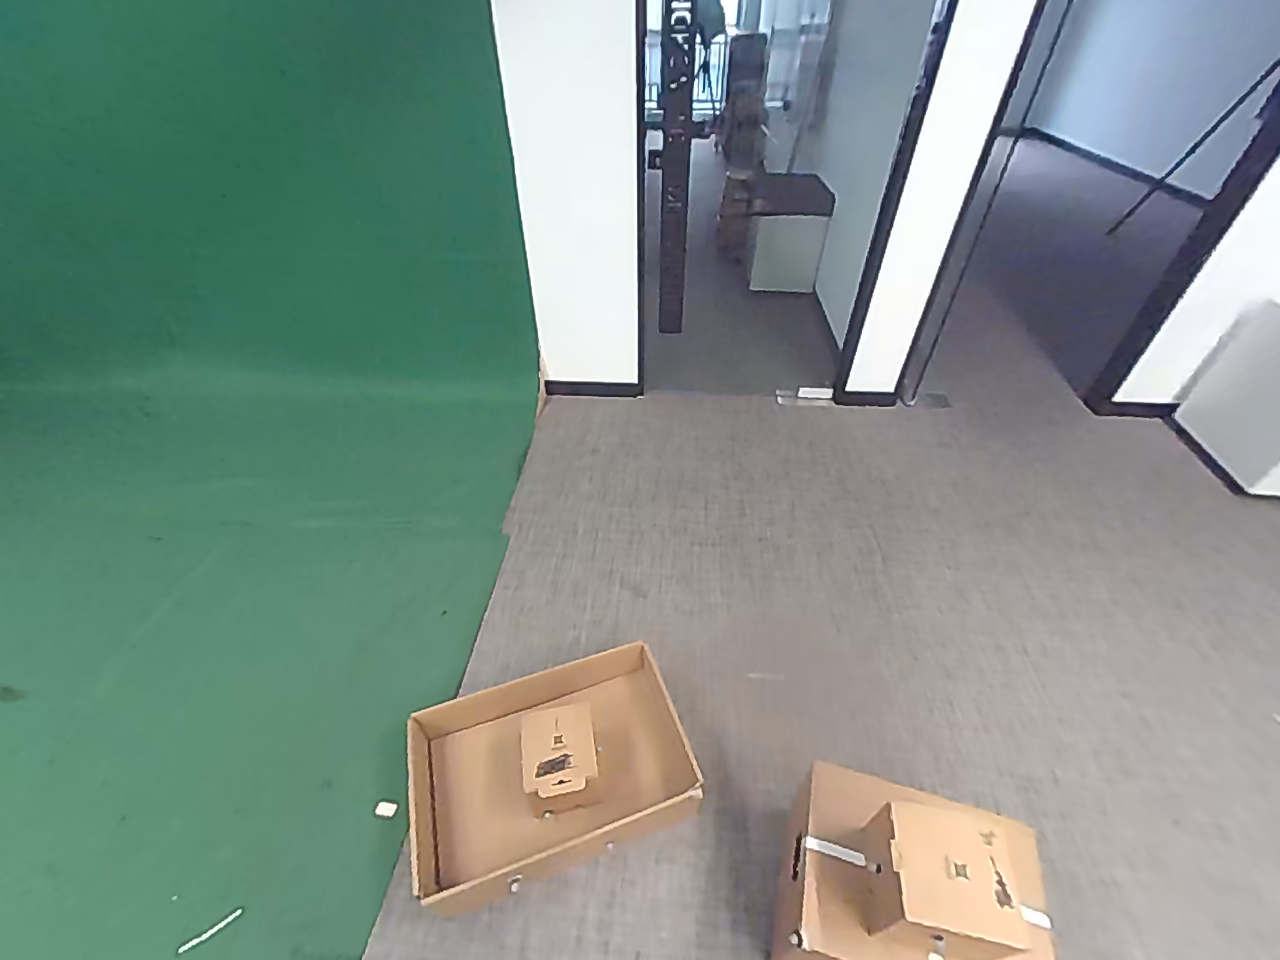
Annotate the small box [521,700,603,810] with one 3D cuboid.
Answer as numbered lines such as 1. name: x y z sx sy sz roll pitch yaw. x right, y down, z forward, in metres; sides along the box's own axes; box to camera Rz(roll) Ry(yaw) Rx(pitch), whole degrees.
1. small box: -0.185 0.658 1.286 0.168 0.176 0.179 -9 41 -8

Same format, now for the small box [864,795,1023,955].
1. small box: 0.482 0.655 0.896 0.179 0.176 0.168 7 44 9
